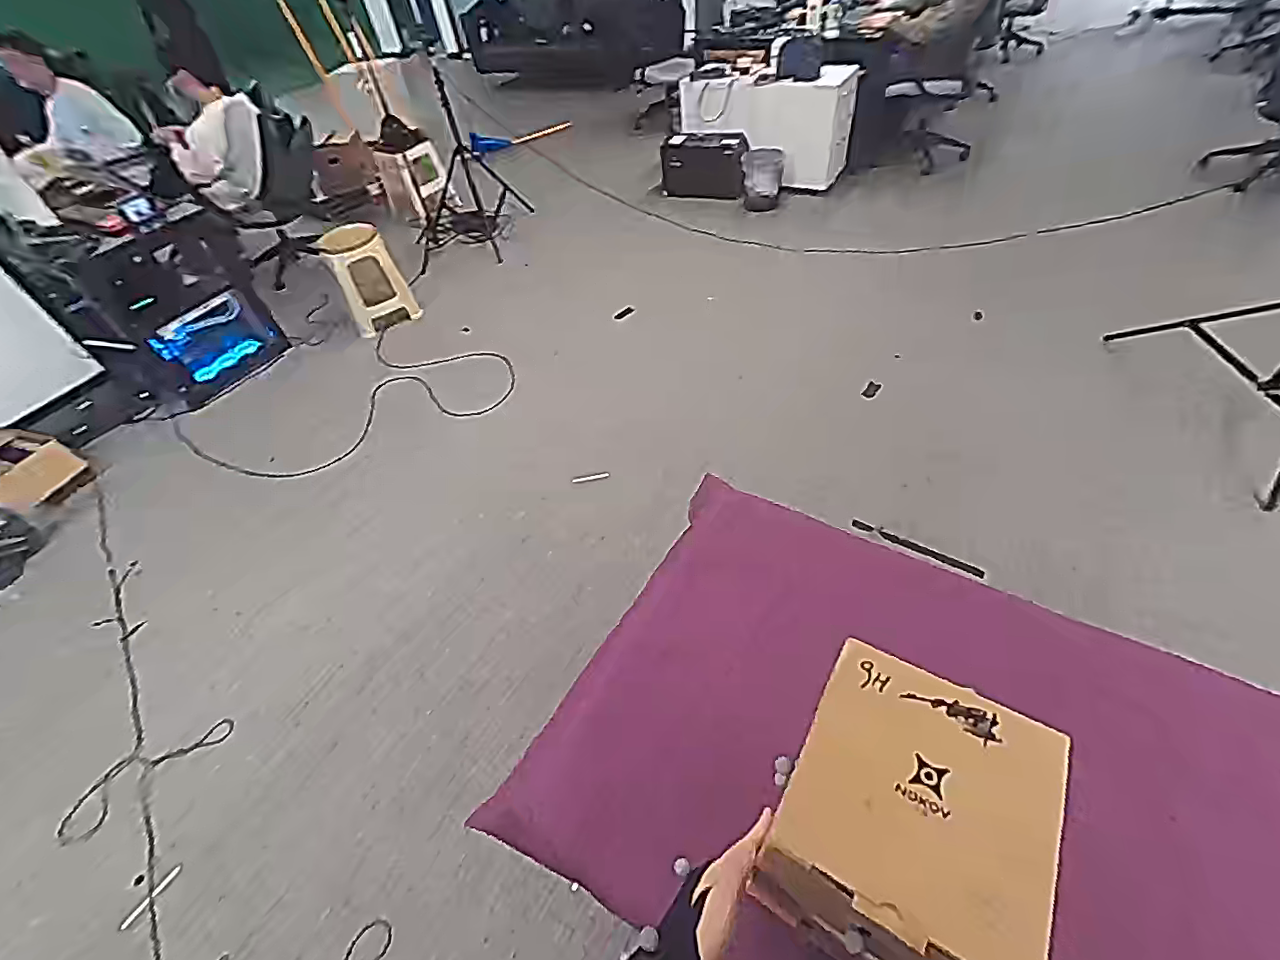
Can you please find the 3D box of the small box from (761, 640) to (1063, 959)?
[{"bbox_3d":[0.210,0.276,0.452,0.168,0.176,0.179,22,55,25],"label":"small box"}]

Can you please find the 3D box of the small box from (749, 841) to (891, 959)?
[{"bbox_3d":[0.225,0.389,0.569,0.168,0.176,0.179,23,54,26],"label":"small box"}]
